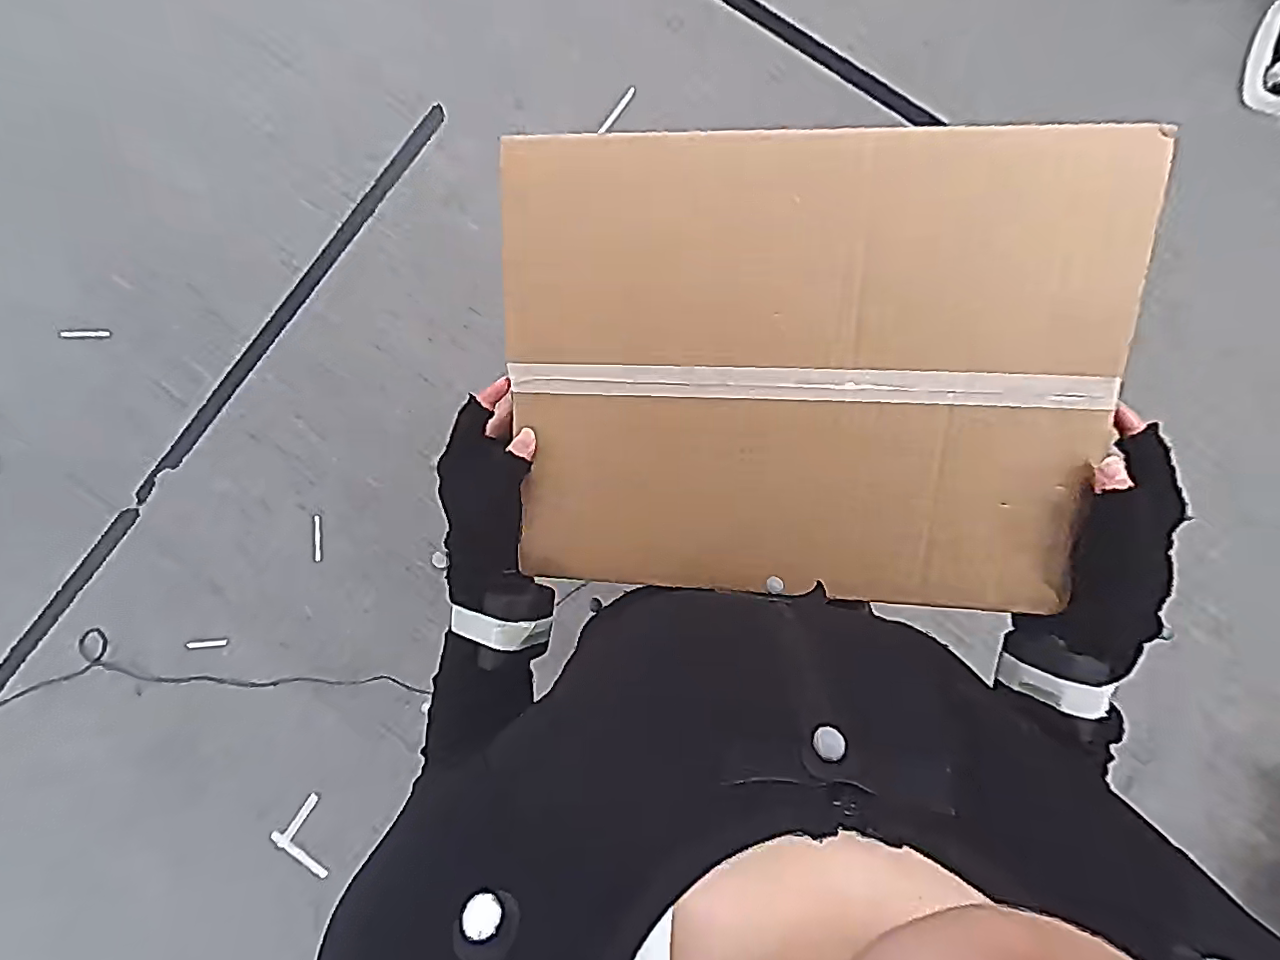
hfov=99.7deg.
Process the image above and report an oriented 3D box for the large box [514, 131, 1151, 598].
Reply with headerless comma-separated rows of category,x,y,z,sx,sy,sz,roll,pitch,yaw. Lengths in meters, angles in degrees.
large box,0.124,-0.104,0.524,0.408,0.320,0.320,3,105,6
